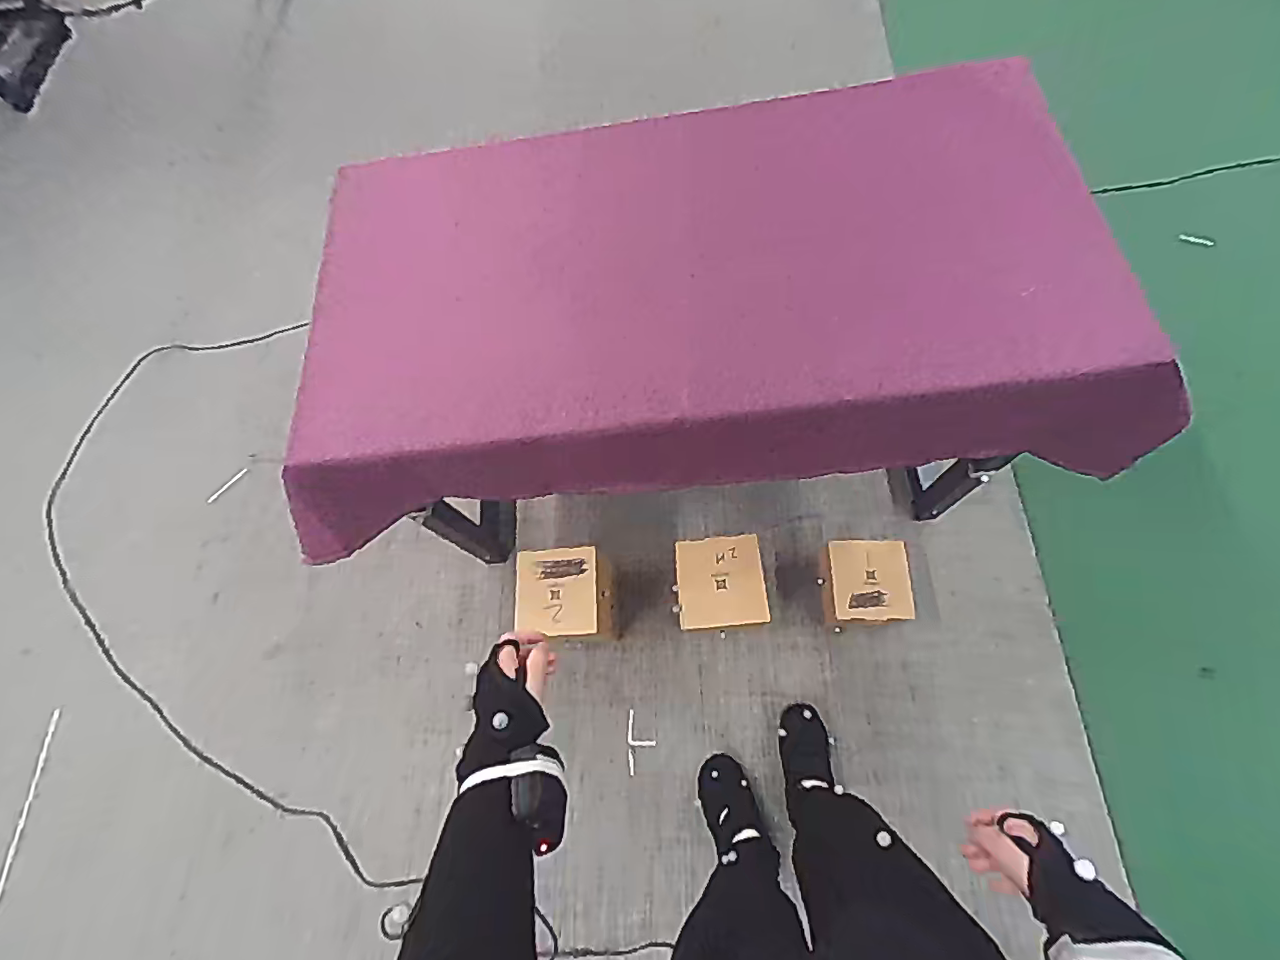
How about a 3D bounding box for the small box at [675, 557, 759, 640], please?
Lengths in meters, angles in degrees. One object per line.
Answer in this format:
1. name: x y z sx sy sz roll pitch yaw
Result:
1. small box: 0.181 0.287 1.287 0.179 0.176 0.168 -5 68 5
